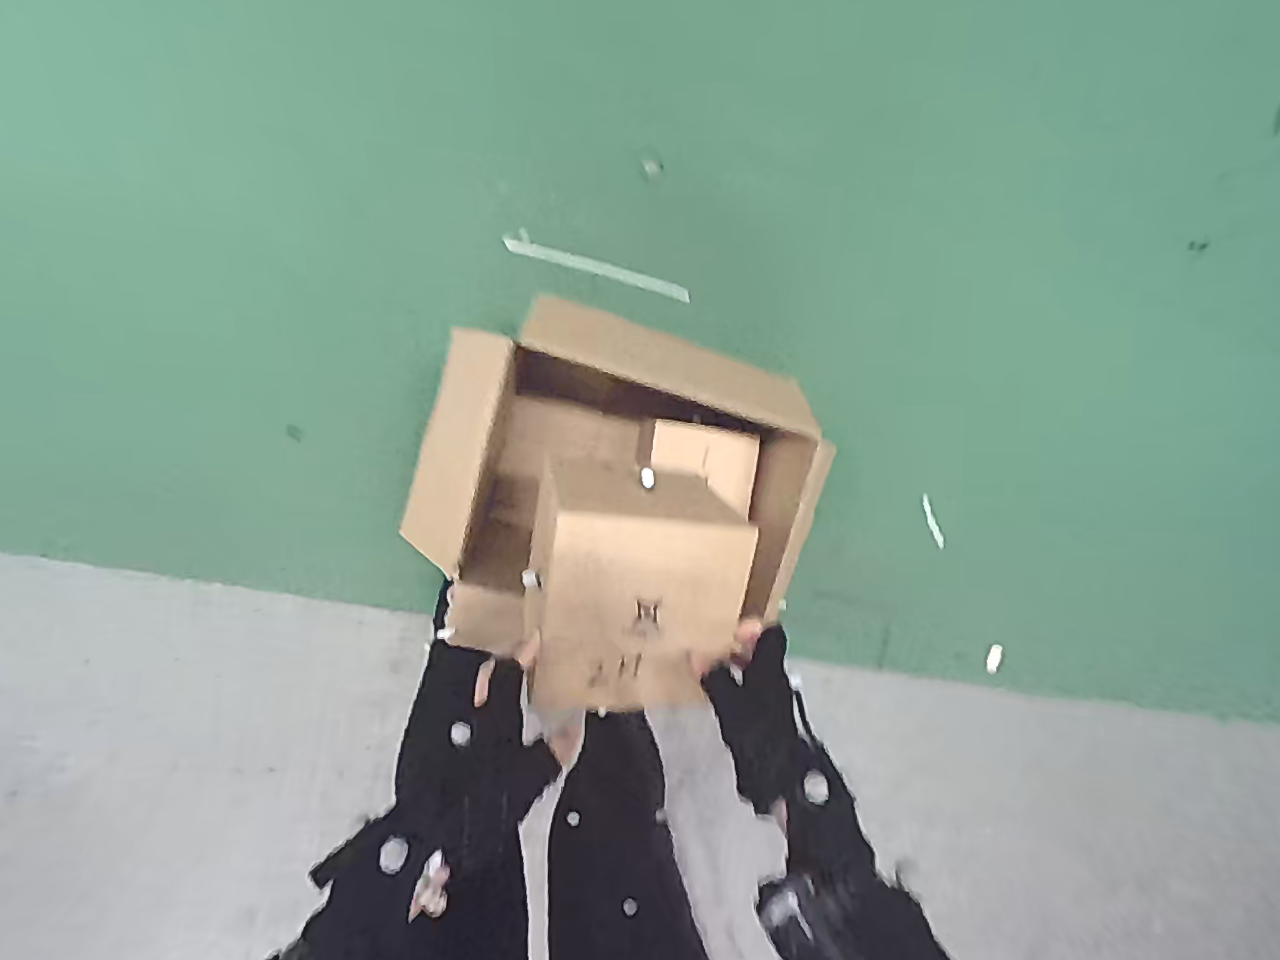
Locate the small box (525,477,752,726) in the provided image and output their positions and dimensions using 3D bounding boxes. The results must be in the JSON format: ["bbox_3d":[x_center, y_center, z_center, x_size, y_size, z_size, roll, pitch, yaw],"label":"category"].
[{"bbox_3d":[-0.017,0.105,0.517,0.168,0.176,0.179,7,105,-14],"label":"small box"}]
